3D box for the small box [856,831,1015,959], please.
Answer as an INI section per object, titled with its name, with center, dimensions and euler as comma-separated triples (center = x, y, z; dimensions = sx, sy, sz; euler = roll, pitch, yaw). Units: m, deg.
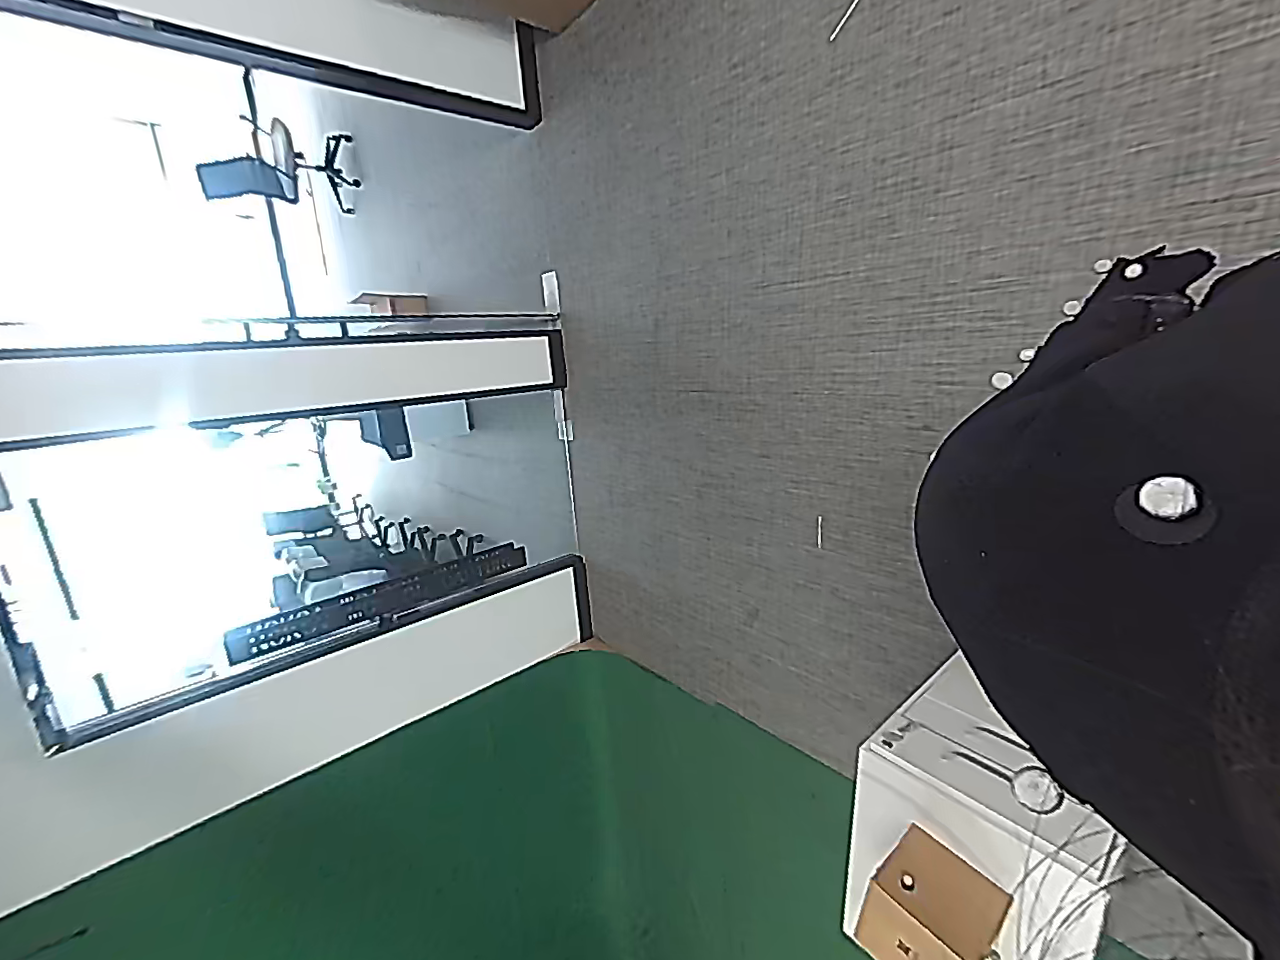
[small box]
center = 0.517, 0.765, 0.953
dimensions = 0.179, 0.176, 0.168
euler = 25, 121, 44
